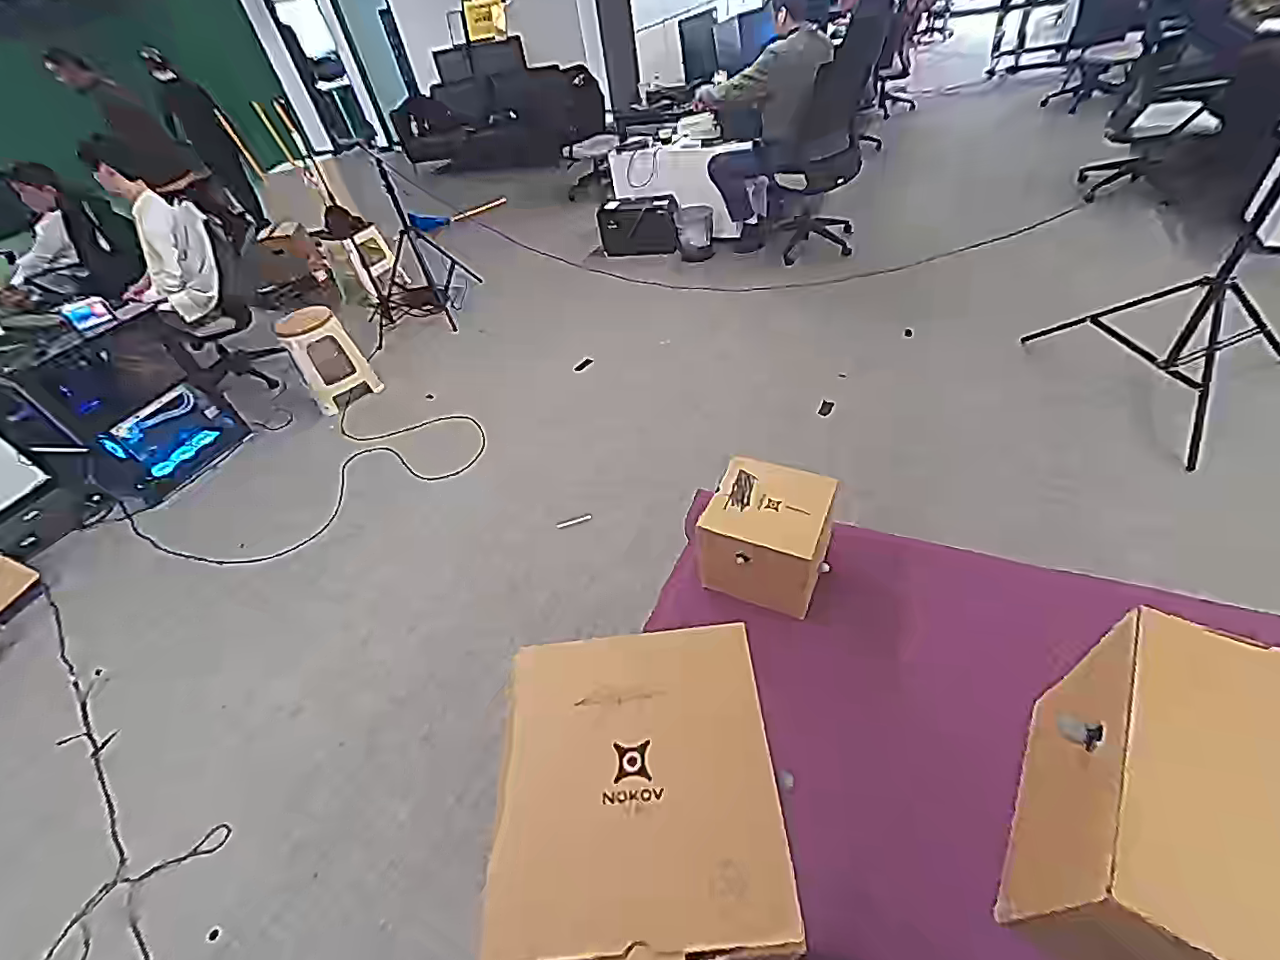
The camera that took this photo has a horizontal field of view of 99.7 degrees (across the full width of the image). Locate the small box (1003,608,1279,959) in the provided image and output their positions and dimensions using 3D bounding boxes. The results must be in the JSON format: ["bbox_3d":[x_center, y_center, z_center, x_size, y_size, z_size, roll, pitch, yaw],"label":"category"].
[{"bbox_3d":[0.340,0.216,0.315,0.168,0.176,0.179,21,54,28],"label":"small box"}]

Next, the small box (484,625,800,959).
[{"bbox_3d":[0.007,0.229,0.383,0.168,0.176,0.179,-7,45,2],"label":"small box"}]

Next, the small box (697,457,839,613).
[{"bbox_3d":[0.209,0.091,0.885,0.179,0.176,0.168,15,51,24],"label":"small box"}]
